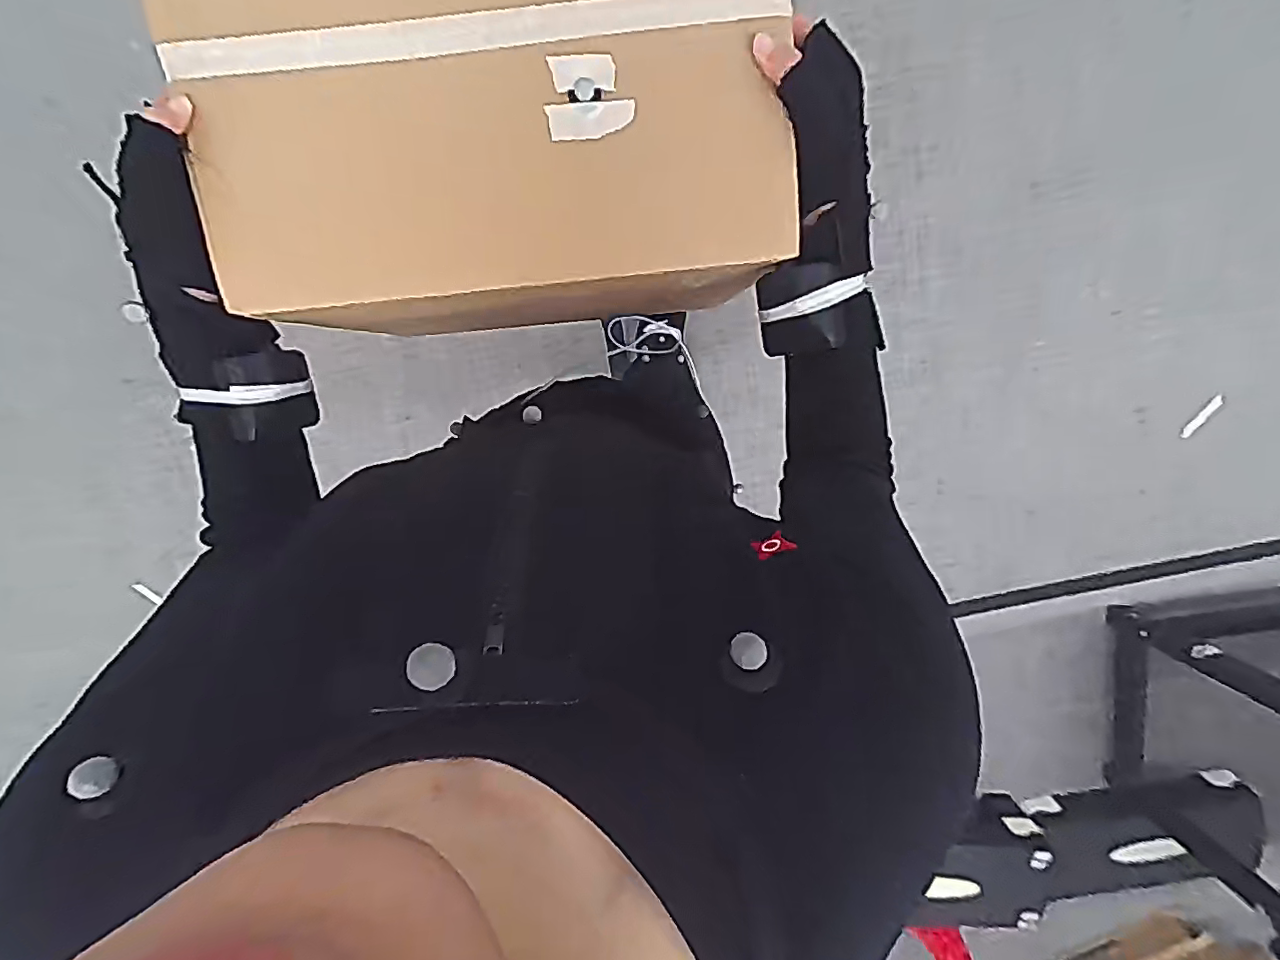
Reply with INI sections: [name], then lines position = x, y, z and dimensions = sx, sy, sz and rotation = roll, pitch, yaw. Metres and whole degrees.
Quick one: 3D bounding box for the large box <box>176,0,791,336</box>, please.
[large box]
position = -0.109, -0.323, 0.508
dimensions = 0.408, 0.320, 0.320
rotation = -6, 103, -1
